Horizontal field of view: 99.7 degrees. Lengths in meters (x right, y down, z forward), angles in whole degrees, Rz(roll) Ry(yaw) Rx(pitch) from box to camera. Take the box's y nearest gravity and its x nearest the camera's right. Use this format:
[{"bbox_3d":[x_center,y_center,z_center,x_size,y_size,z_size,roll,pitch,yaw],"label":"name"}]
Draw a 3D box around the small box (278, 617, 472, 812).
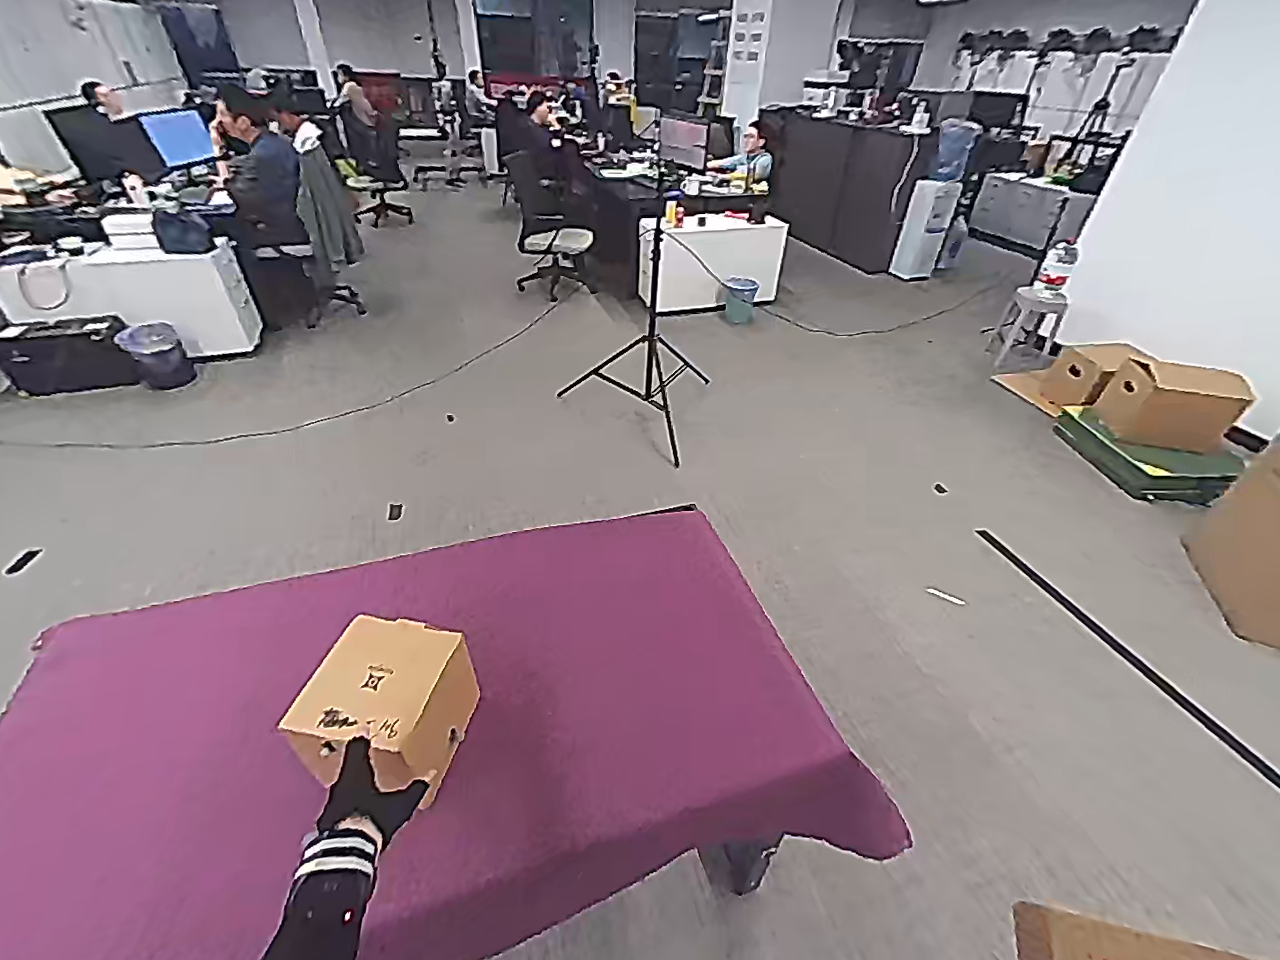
[{"bbox_3d":[-0.349,0.325,0.757,0.168,0.176,0.179,8,37,7],"label":"small box"}]
